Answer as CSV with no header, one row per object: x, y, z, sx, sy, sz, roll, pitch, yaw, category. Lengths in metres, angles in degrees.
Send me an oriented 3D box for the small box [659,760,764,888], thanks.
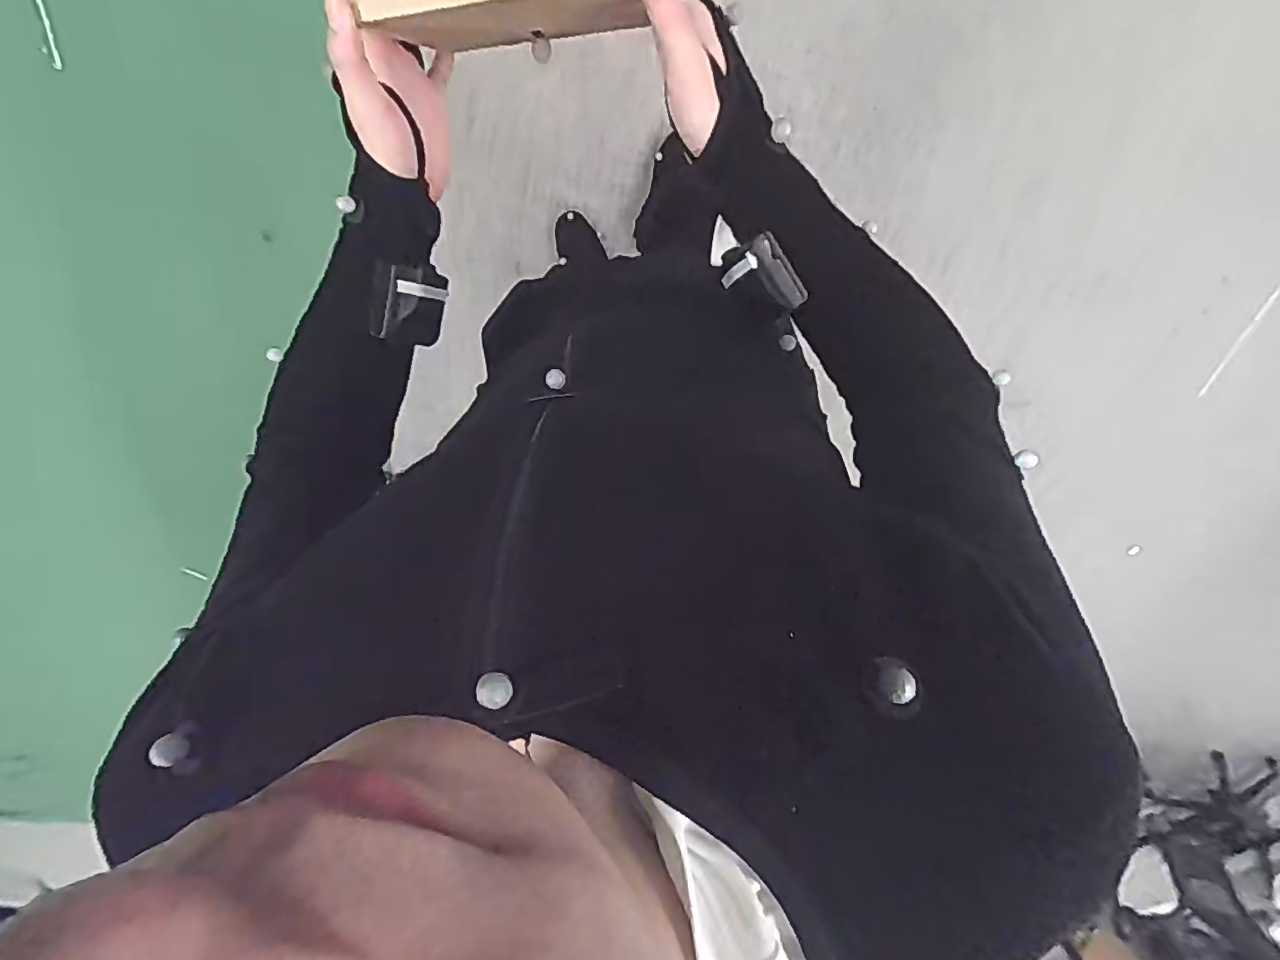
0.134,0.689,1.092,0.179,0.176,0.168,1,123,-4,small box

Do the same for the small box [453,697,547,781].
-0.311,0.611,1.207,0.179,0.176,0.168,13,120,-11,small box

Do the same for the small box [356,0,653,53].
-0.081,-0.384,0.335,0.179,0.176,0.168,-3,122,5,small box
